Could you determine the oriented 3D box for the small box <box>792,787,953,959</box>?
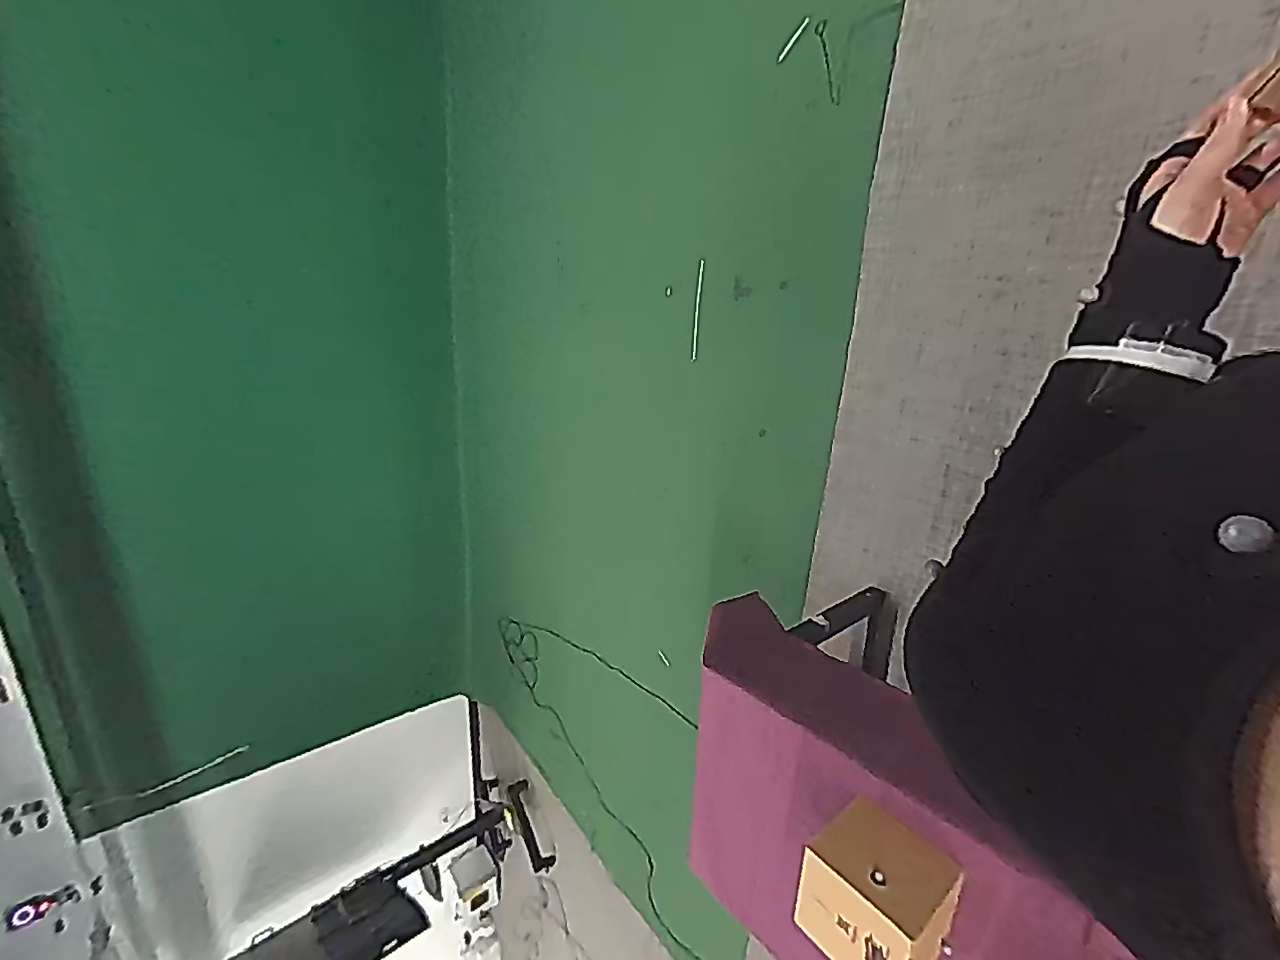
[{"bbox_3d":[0.378,0.651,0.881,0.179,0.176,0.168,22,116,48],"label":"small box"}]
